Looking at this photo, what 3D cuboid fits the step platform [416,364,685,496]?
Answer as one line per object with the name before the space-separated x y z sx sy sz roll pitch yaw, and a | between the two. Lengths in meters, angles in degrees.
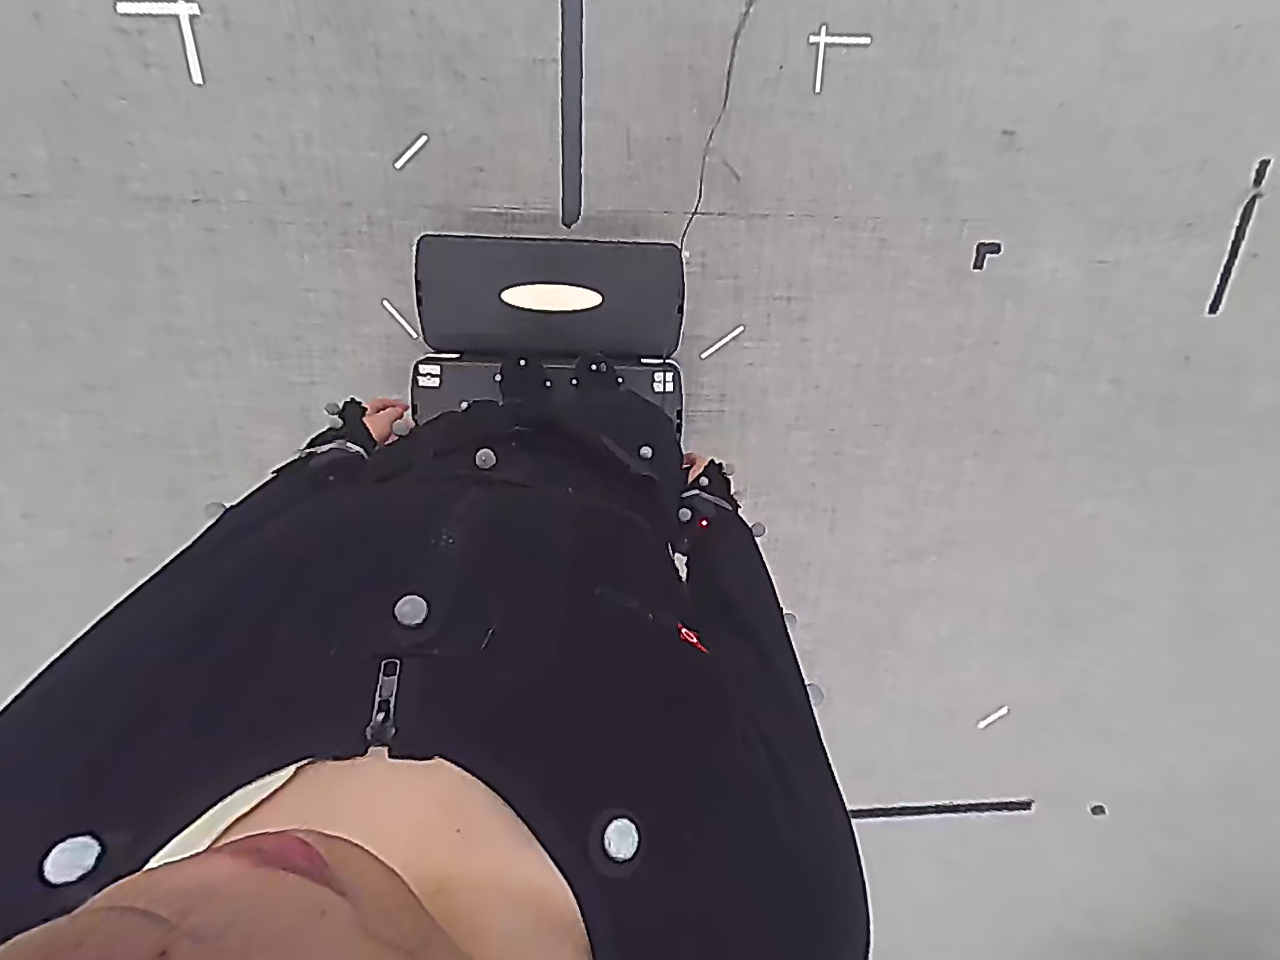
step platform | -0.224 -0.132 1.428 0.684 0.204 0.286 5 104 -4
